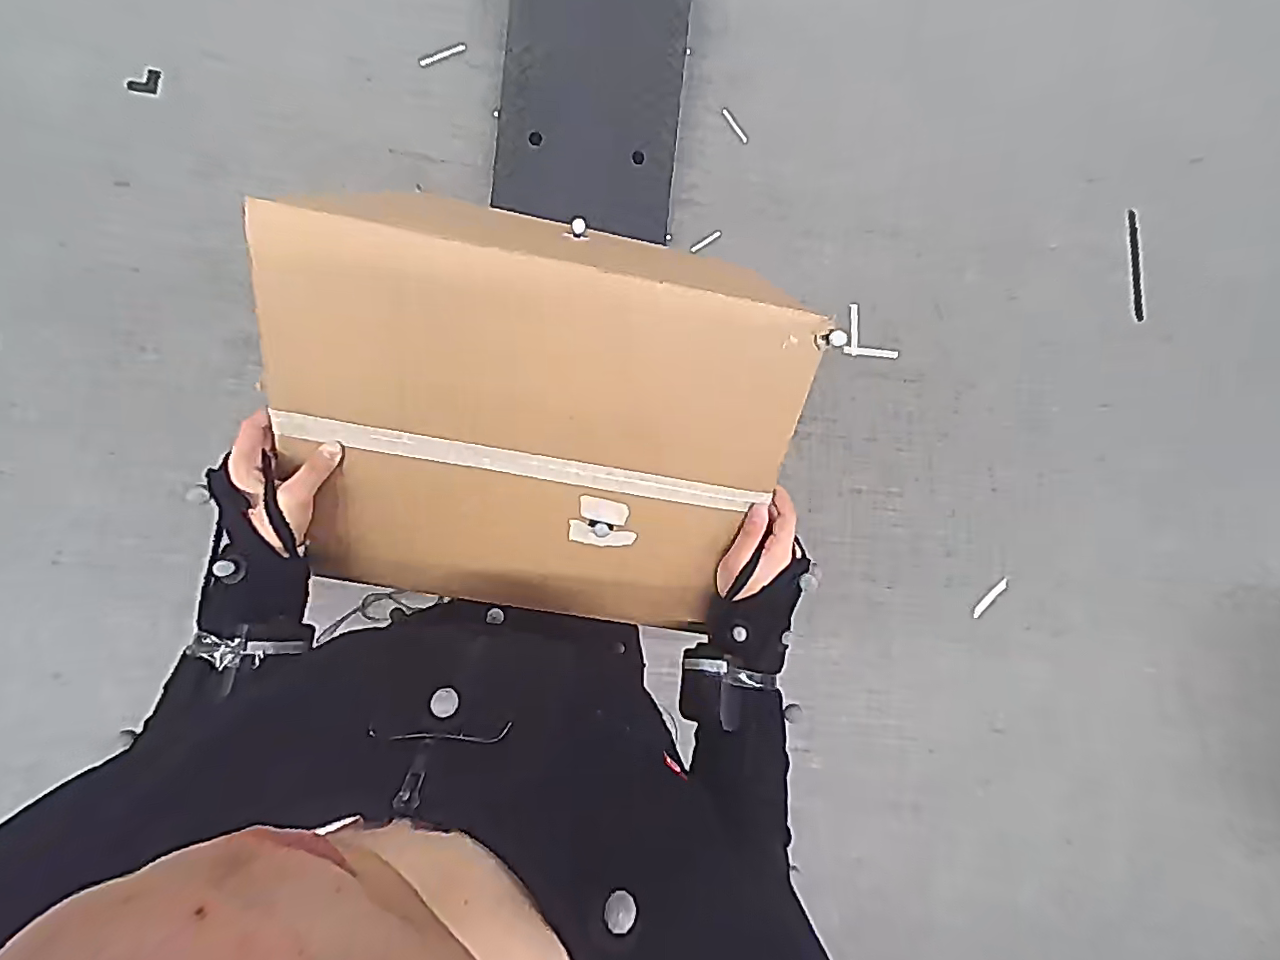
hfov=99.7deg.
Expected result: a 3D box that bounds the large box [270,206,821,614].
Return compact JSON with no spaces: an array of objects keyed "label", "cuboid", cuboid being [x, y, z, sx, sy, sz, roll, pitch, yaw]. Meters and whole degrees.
[{"label":"large box","cuboid":[-0.088,-0.093,0.586,0.408,0.320,0.320,9,119,-6]}]
